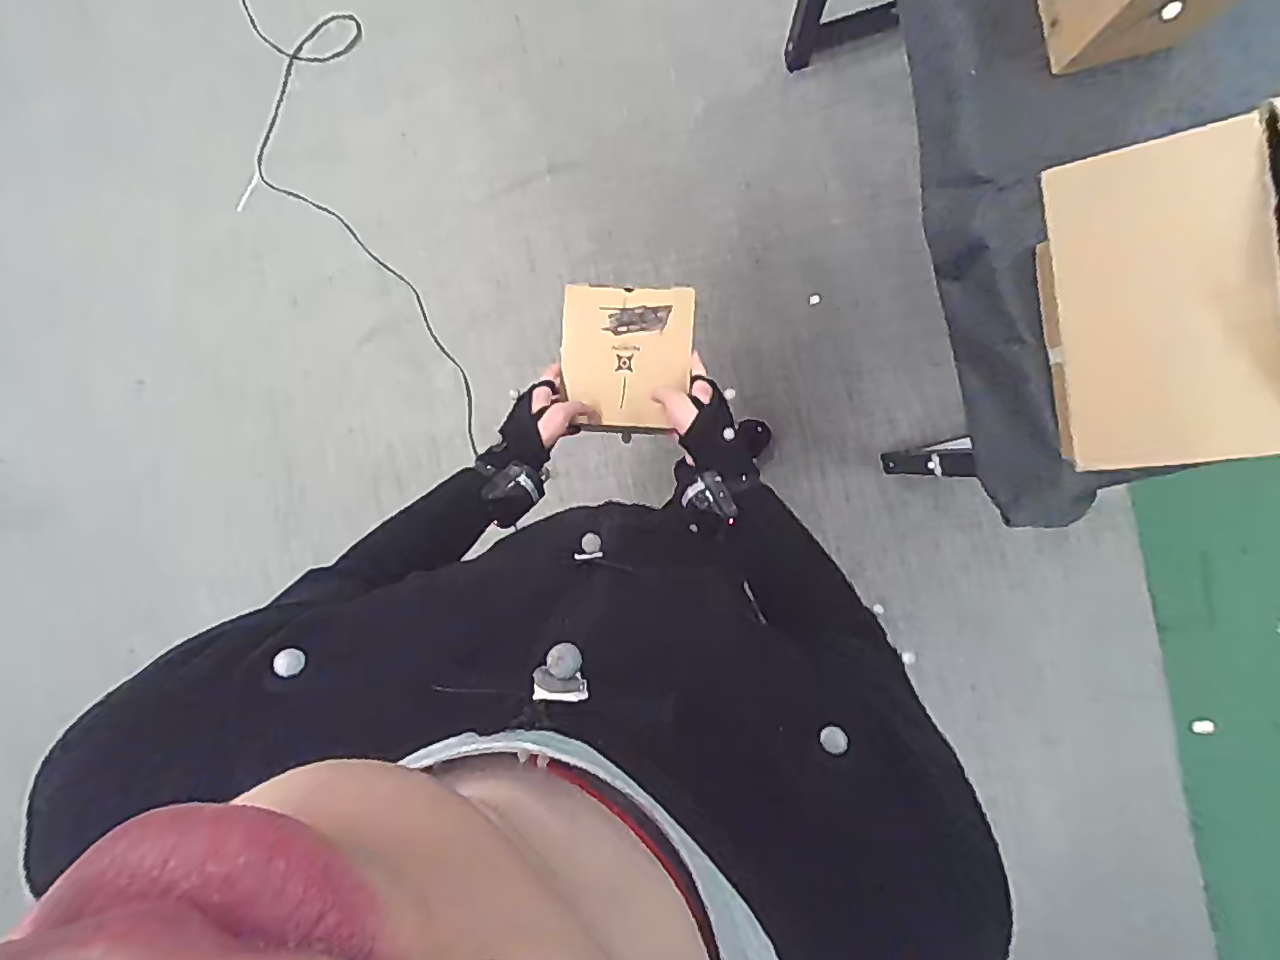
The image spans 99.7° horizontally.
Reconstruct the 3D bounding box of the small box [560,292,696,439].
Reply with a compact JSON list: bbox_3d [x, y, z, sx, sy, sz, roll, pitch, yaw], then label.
[{"bbox_3d":[-0.010,-0.148,0.750,0.168,0.176,0.179,2,94,5],"label":"small box"}]
